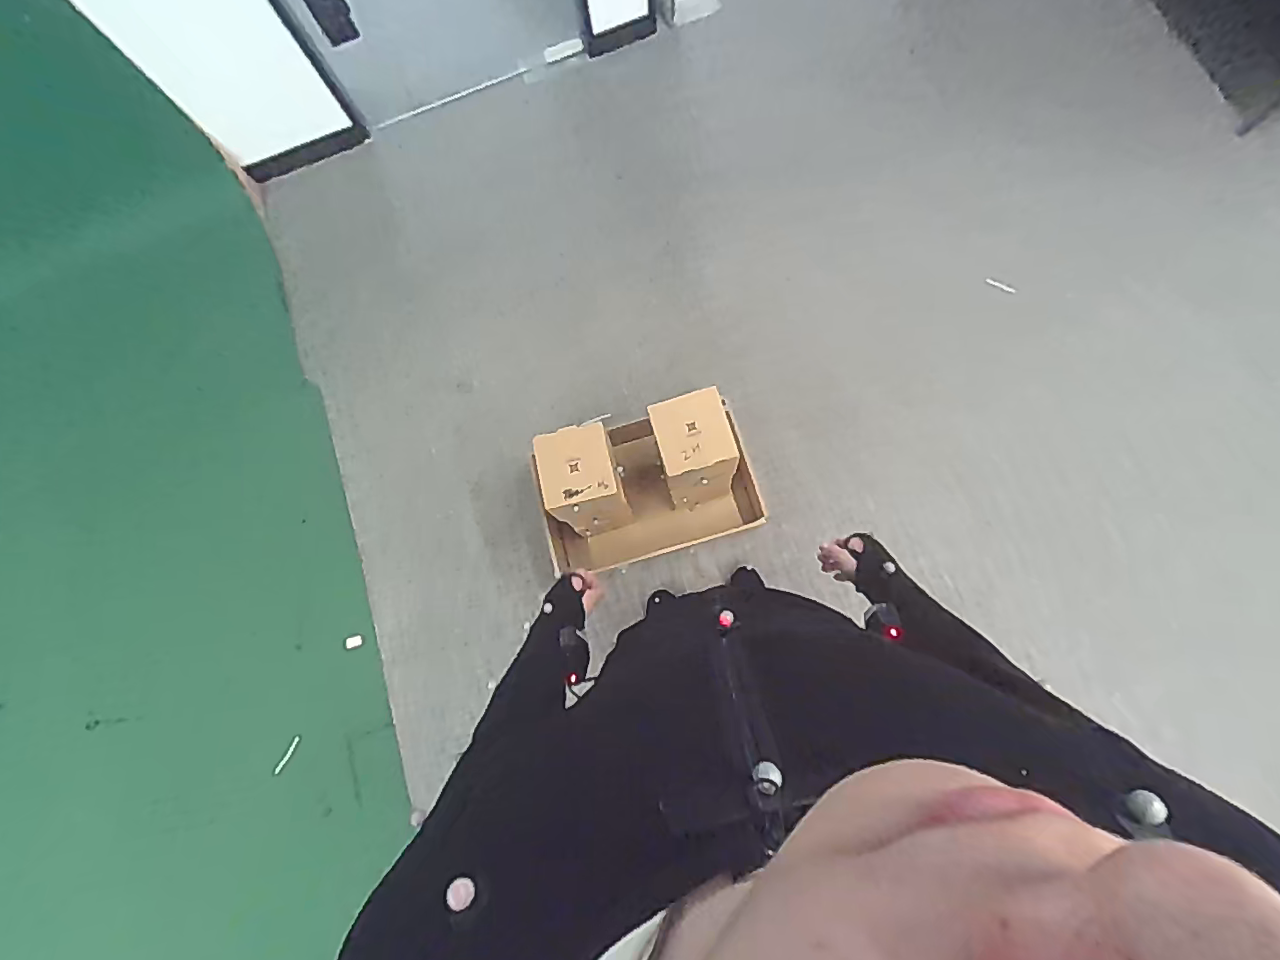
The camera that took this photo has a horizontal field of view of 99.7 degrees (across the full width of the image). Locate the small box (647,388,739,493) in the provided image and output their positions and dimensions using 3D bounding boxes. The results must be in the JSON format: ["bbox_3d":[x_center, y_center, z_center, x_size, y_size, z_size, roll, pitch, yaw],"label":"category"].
[{"bbox_3d":[0.122,-0.086,1.264,0.168,0.176,0.179,-17,76,3],"label":"small box"}]

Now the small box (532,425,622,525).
[{"bbox_3d":[-0.143,-0.006,1.267,0.168,0.176,0.179,-13,74,1],"label":"small box"}]

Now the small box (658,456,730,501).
[{"bbox_3d":[0.138,-0.051,1.425,0.168,0.176,0.179,-15,75,2],"label":"small box"}]

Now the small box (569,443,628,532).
[{"bbox_3d":[-0.134,0.023,1.429,0.168,0.176,0.179,-16,75,0],"label":"small box"}]
